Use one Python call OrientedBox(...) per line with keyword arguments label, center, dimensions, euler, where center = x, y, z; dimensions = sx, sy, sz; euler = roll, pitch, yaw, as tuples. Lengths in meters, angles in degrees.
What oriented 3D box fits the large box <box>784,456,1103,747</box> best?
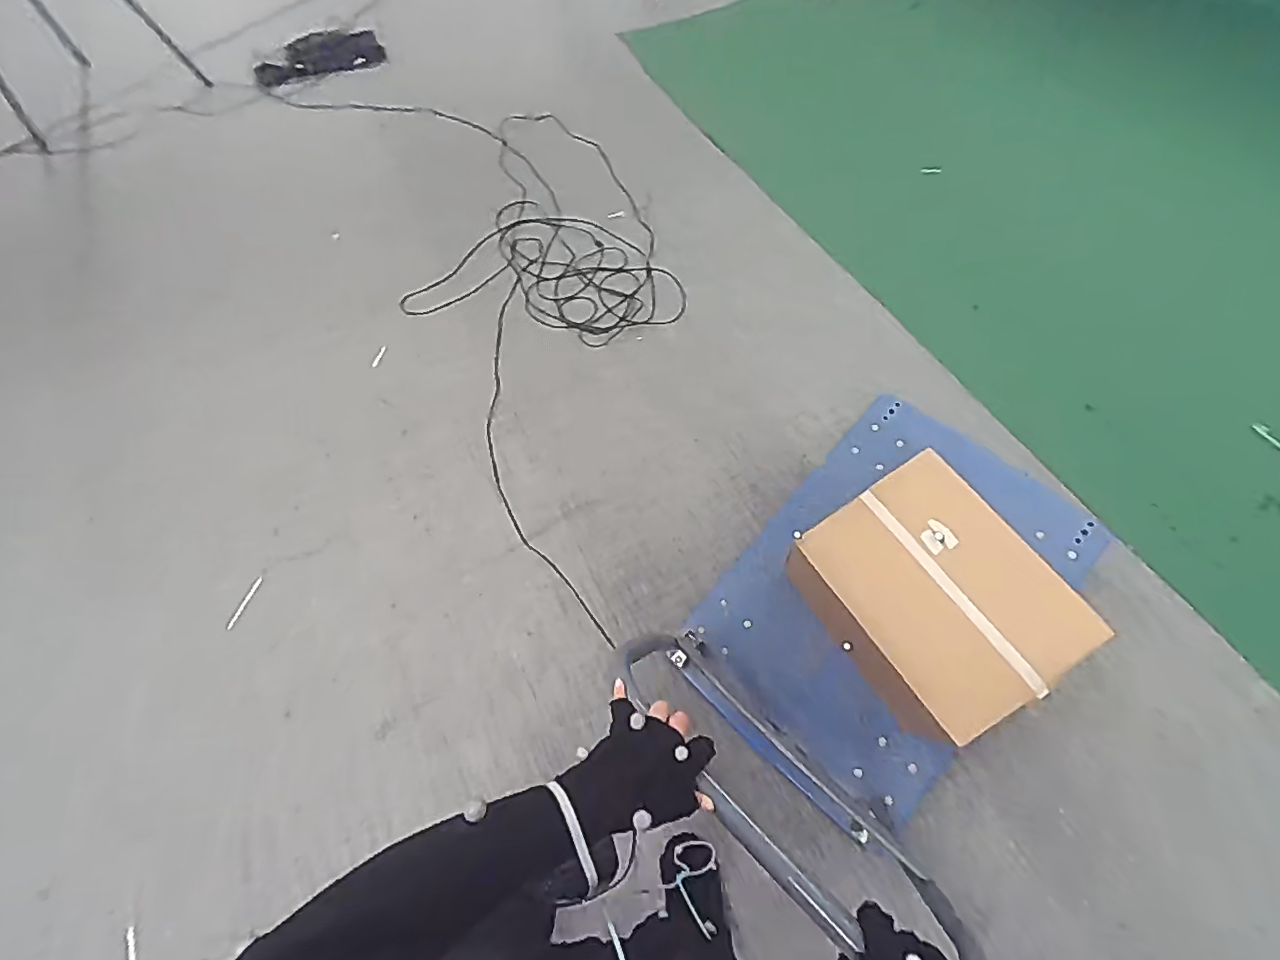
OrientedBox(label="large box", center=(0.533, 0.236, 1.059), dimensions=(0.320, 0.320, 0.408), euler=(-33, 67, -3))
